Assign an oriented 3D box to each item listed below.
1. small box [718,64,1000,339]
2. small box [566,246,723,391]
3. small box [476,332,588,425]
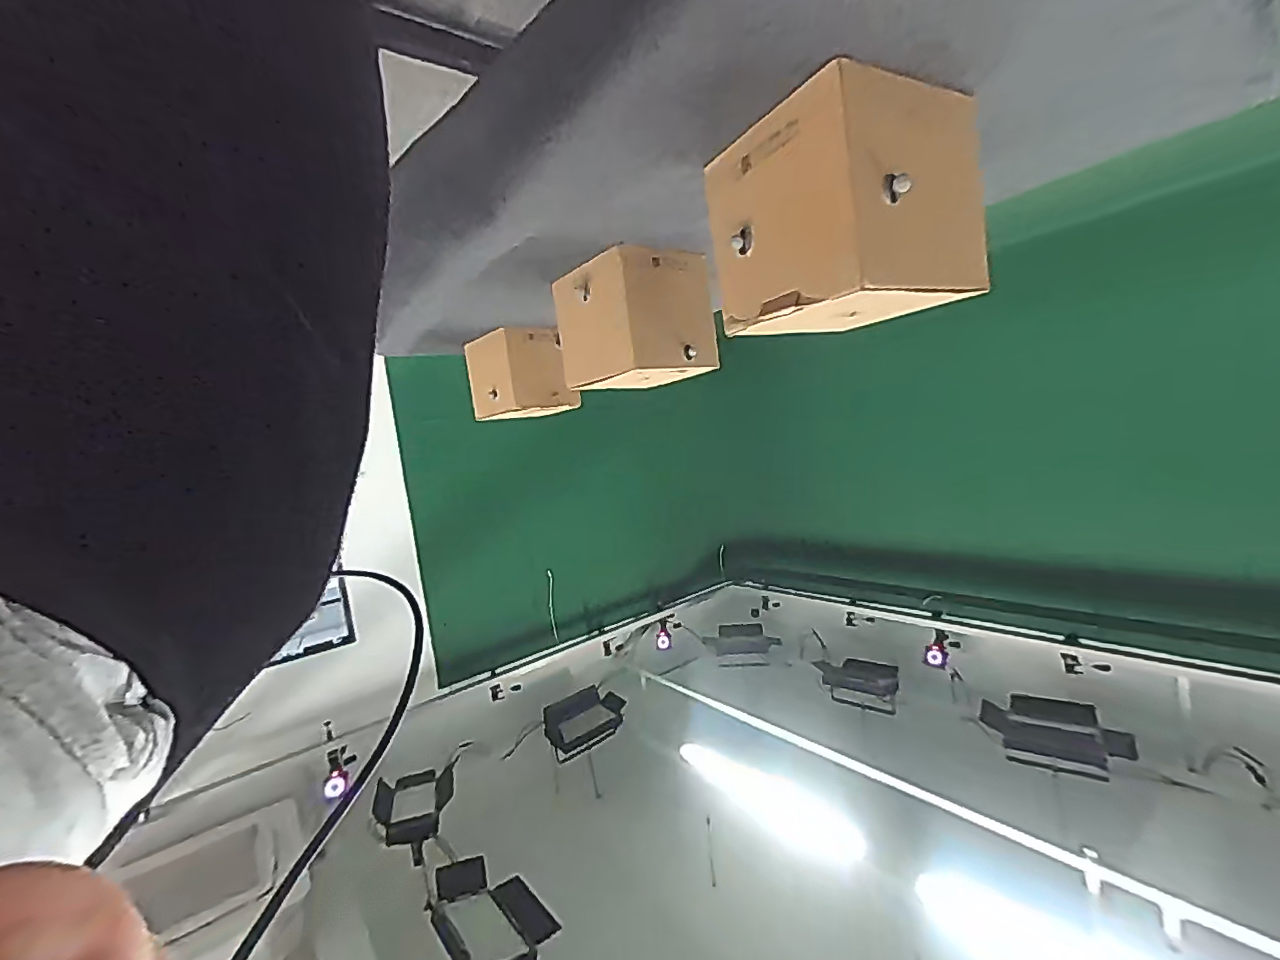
[{"bbox_3d":[0.192,-0.237,0.497,0.179,0.176,0.168,-13,-172,-27],"label":"small box"},{"bbox_3d":[0.002,-0.232,0.814,0.168,0.176,0.179,-12,-174,-38],"label":"small box"},{"bbox_3d":[-0.239,-0.220,1.172,0.168,0.176,0.179,-12,-174,-42],"label":"small box"}]
